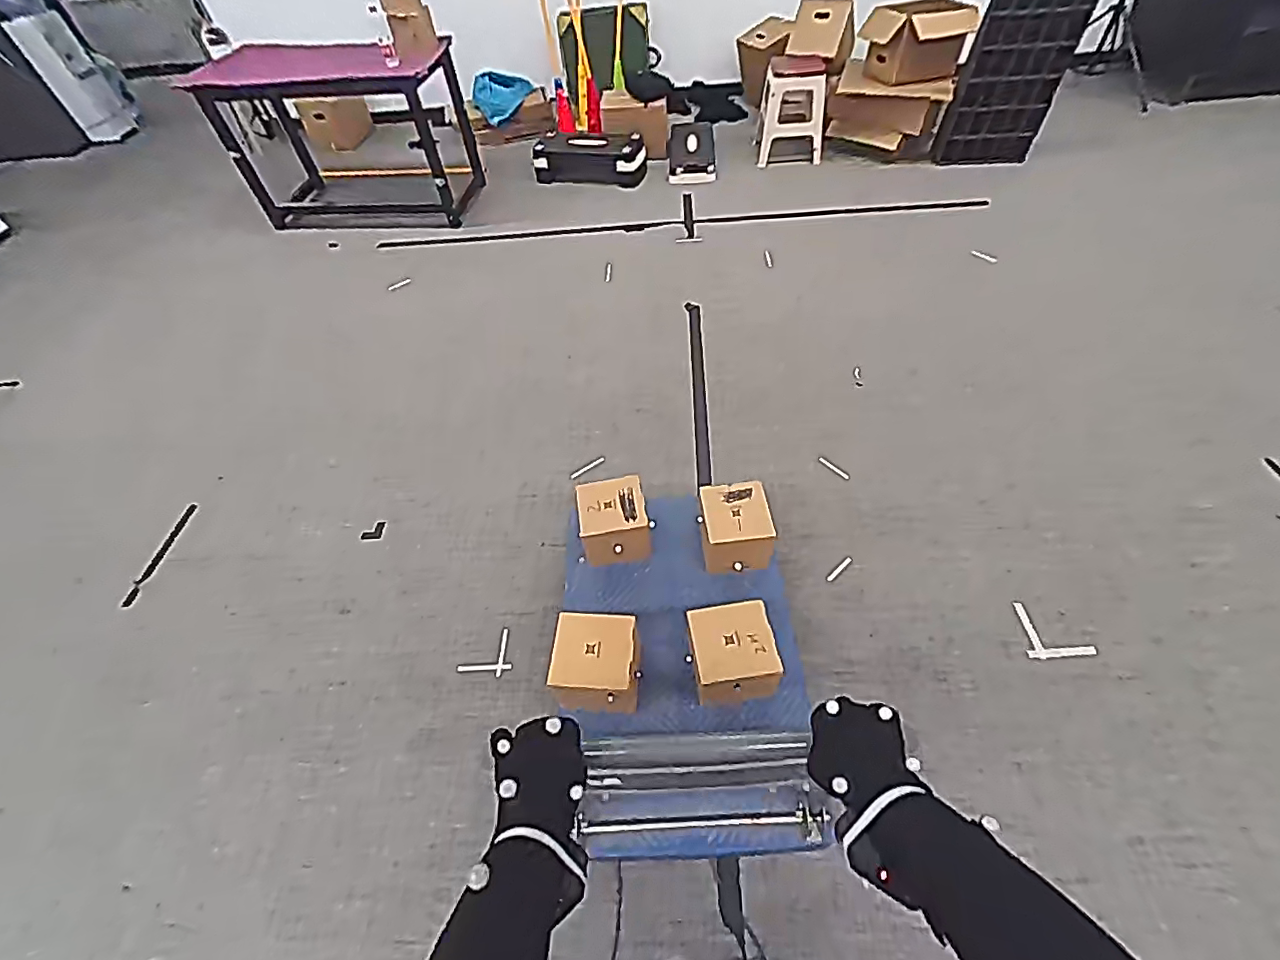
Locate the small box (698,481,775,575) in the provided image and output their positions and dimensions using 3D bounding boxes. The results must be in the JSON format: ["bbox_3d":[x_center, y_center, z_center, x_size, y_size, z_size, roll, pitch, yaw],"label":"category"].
[{"bbox_3d":[0.245,0.128,1.422,0.168,0.176,0.179,-7,53,0],"label":"small box"}]

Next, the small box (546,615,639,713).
[{"bbox_3d":[-0.099,0.419,1.228,0.179,0.176,0.168,1,52,5],"label":"small box"}]

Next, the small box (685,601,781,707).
[{"bbox_3d":[0.203,0.395,1.217,0.179,0.176,0.168,-9,52,-1],"label":"small box"}]
